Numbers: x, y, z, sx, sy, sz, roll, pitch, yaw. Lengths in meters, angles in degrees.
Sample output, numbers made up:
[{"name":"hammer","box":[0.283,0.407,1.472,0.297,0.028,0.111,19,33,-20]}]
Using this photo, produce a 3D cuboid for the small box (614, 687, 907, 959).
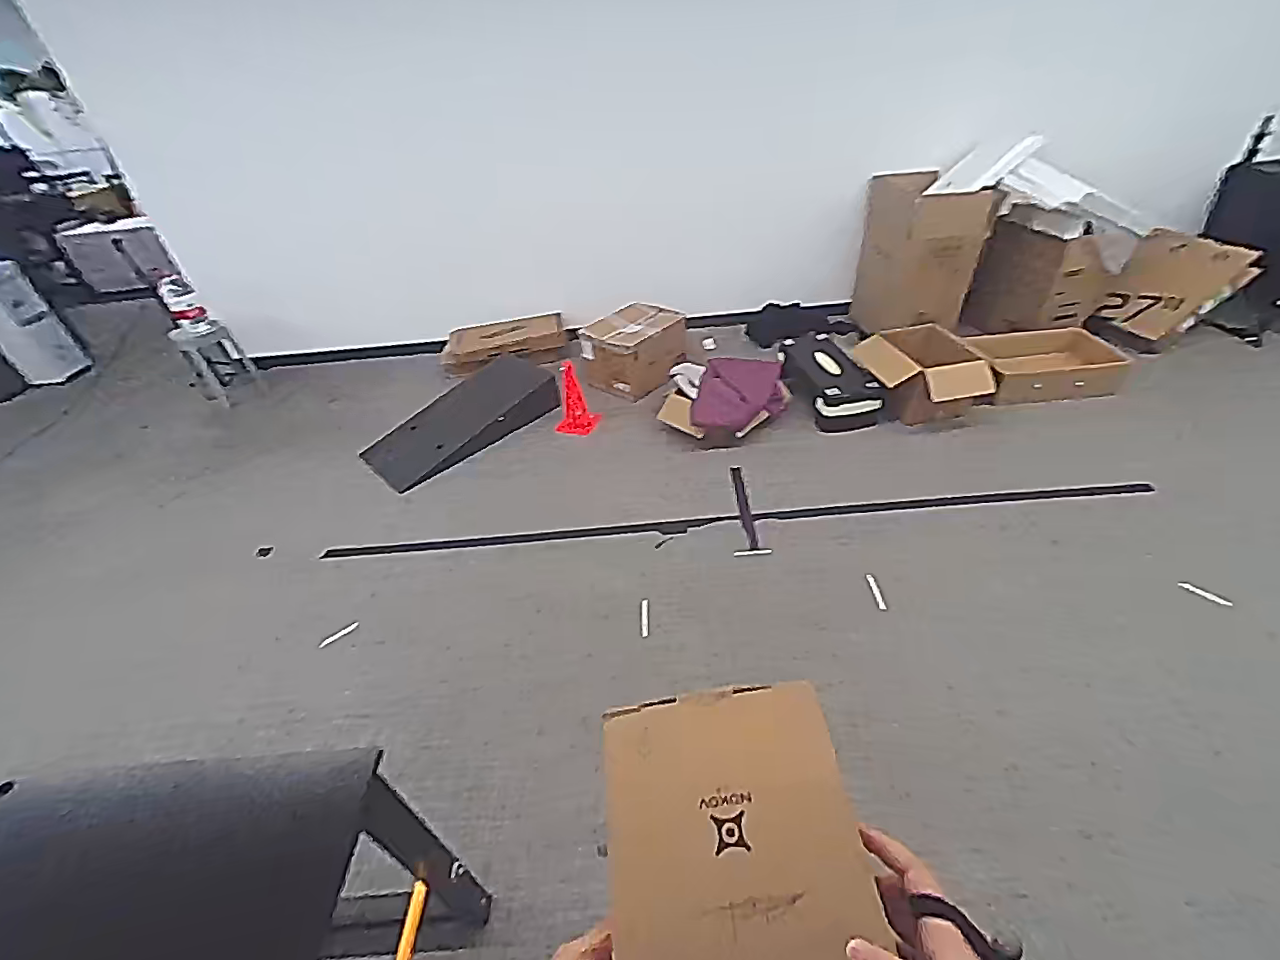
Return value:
[{"name":"small box","box":[0.076,0.284,0.415,0.168,0.176,0.179,-9,49,3]}]
